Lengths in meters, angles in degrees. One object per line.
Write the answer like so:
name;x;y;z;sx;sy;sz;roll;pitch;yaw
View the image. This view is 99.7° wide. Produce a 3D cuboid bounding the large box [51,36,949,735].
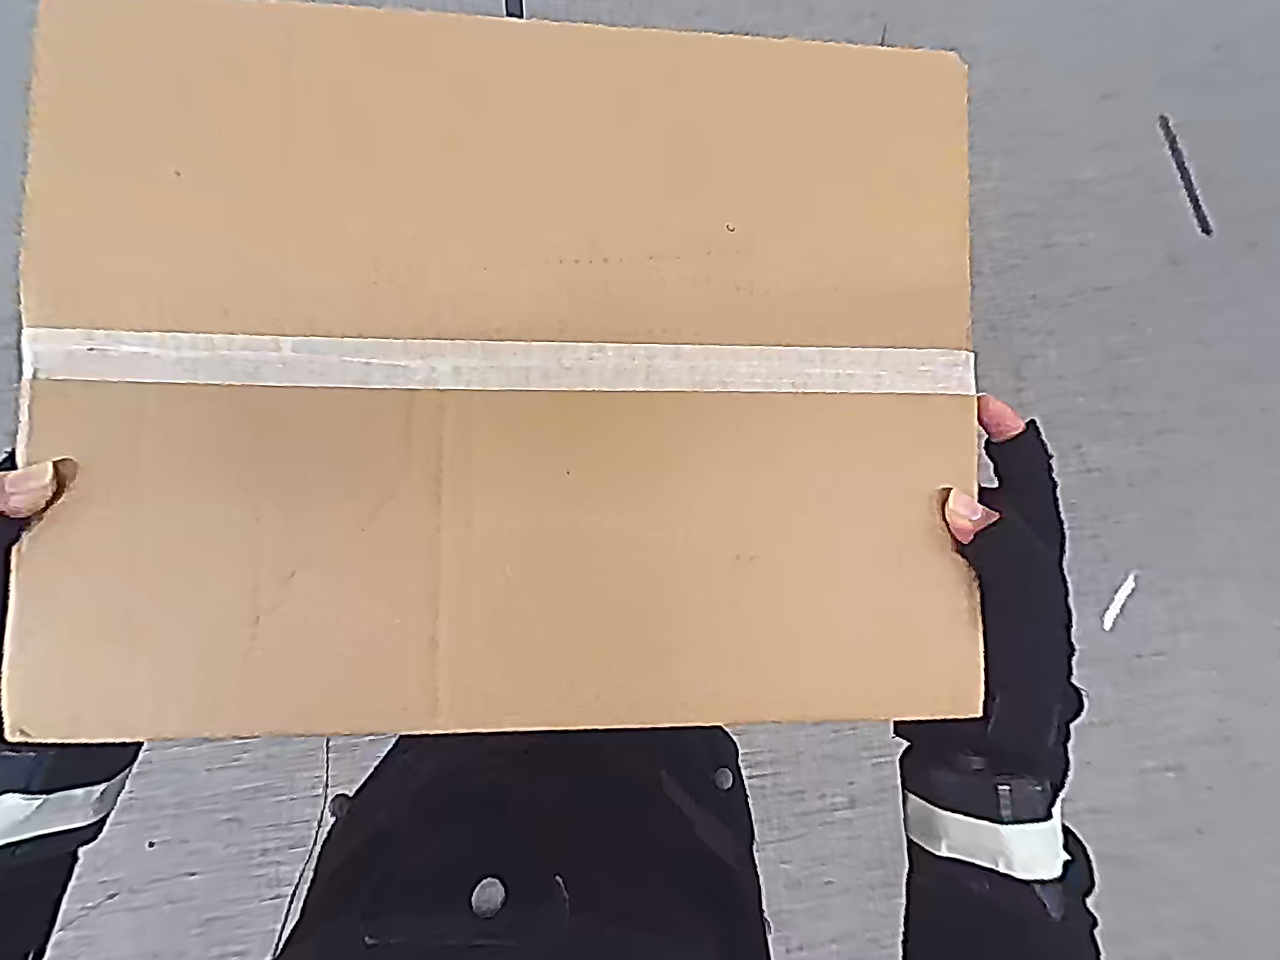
large box;-0.059;-0.041;0.397;0.408;0.320;0.320;0;87;-5
